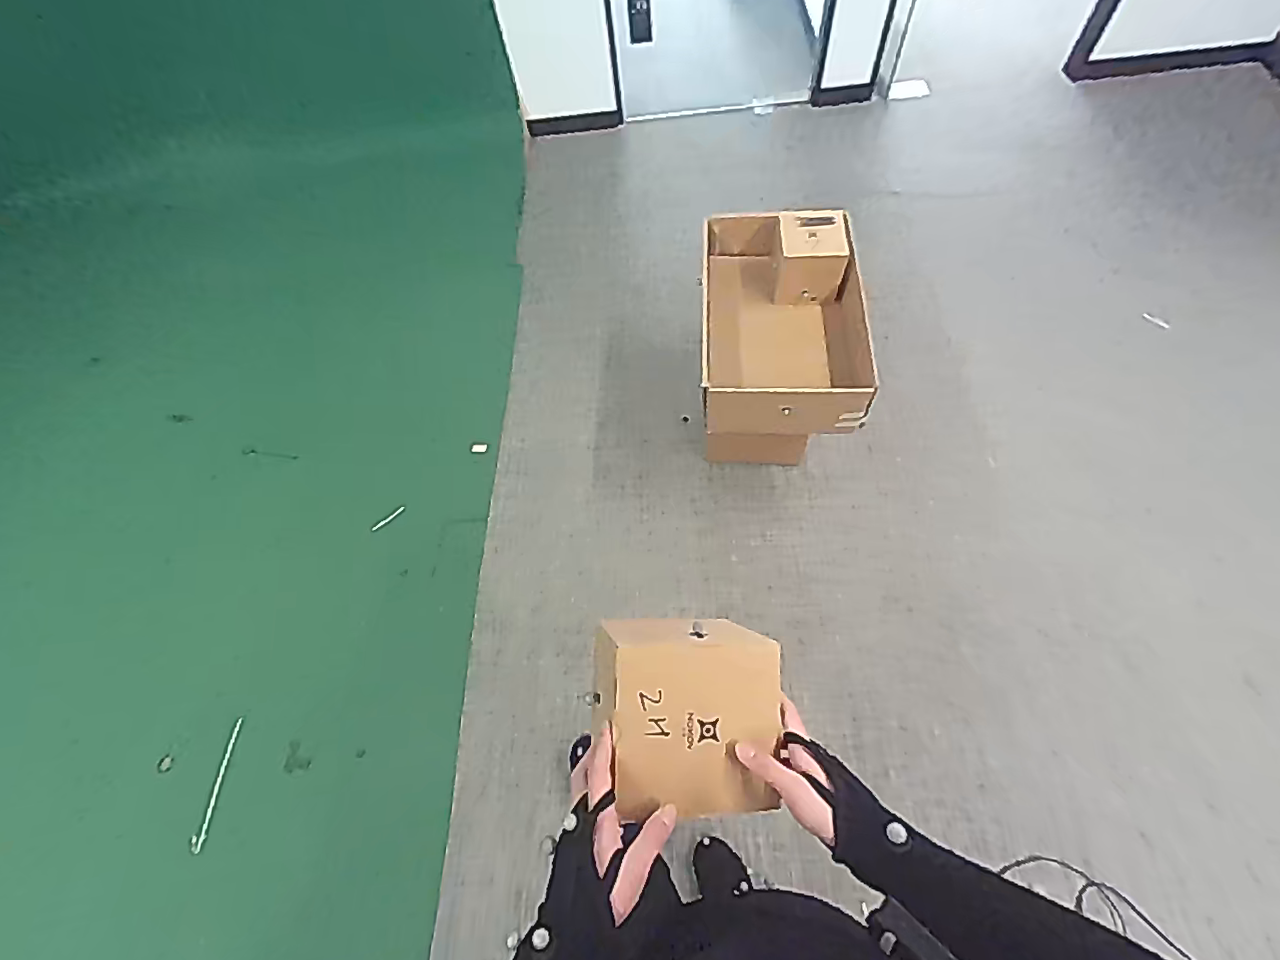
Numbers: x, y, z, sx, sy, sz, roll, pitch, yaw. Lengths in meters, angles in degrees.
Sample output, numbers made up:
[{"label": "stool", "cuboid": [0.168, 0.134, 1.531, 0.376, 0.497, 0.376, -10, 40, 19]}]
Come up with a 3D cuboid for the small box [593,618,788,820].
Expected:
[{"label": "small box", "cuboid": [0.047, 0.252, 0.608, 0.179, 0.176, 0.168, 4, 84, -10]}]
